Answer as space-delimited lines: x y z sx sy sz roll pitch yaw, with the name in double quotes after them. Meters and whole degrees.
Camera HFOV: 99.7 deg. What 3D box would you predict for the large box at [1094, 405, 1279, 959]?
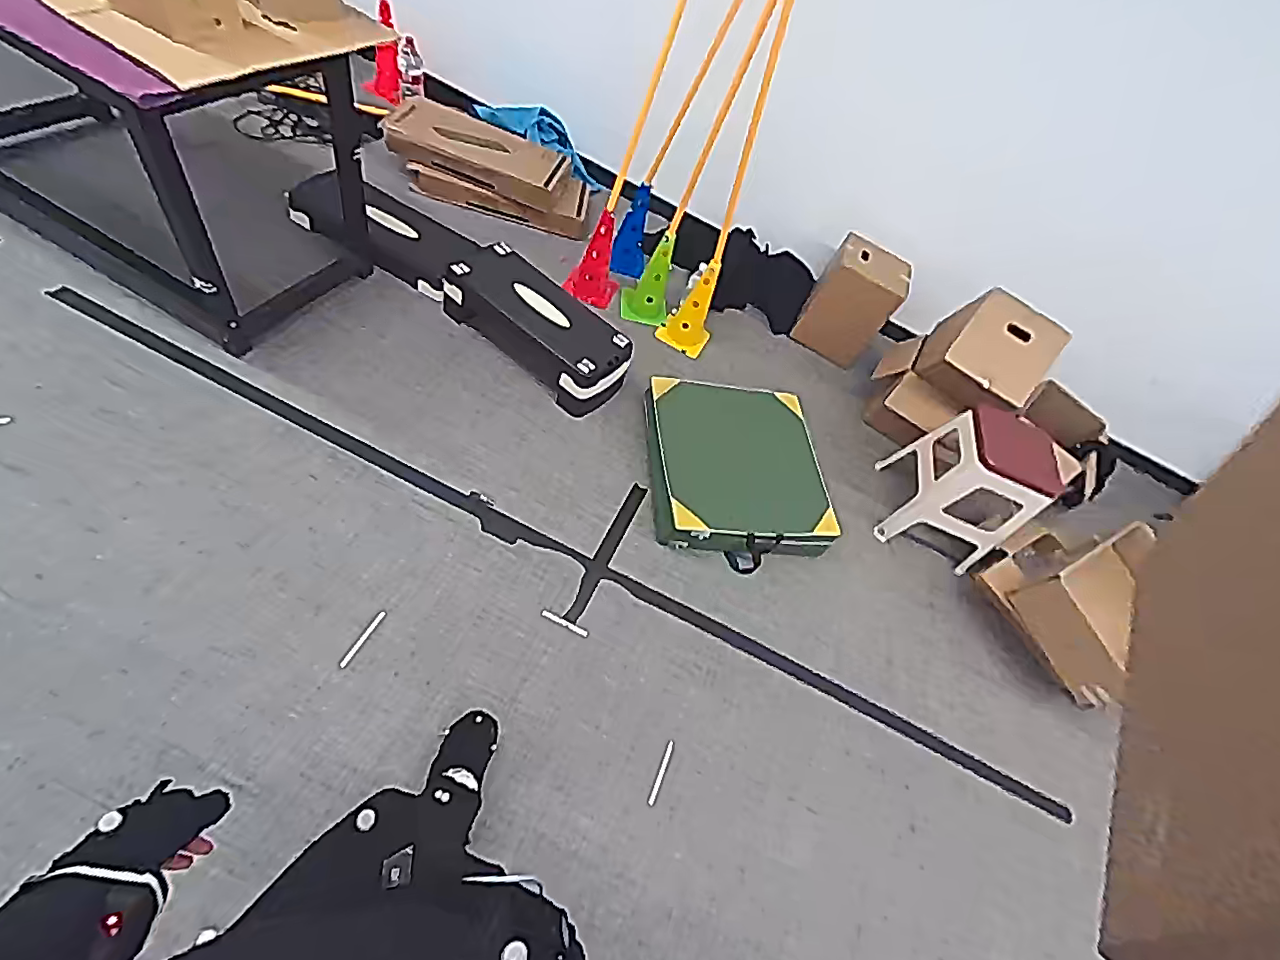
0.447 0.096 0.193 0.320 0.408 0.320 21 59 29 "large box"
